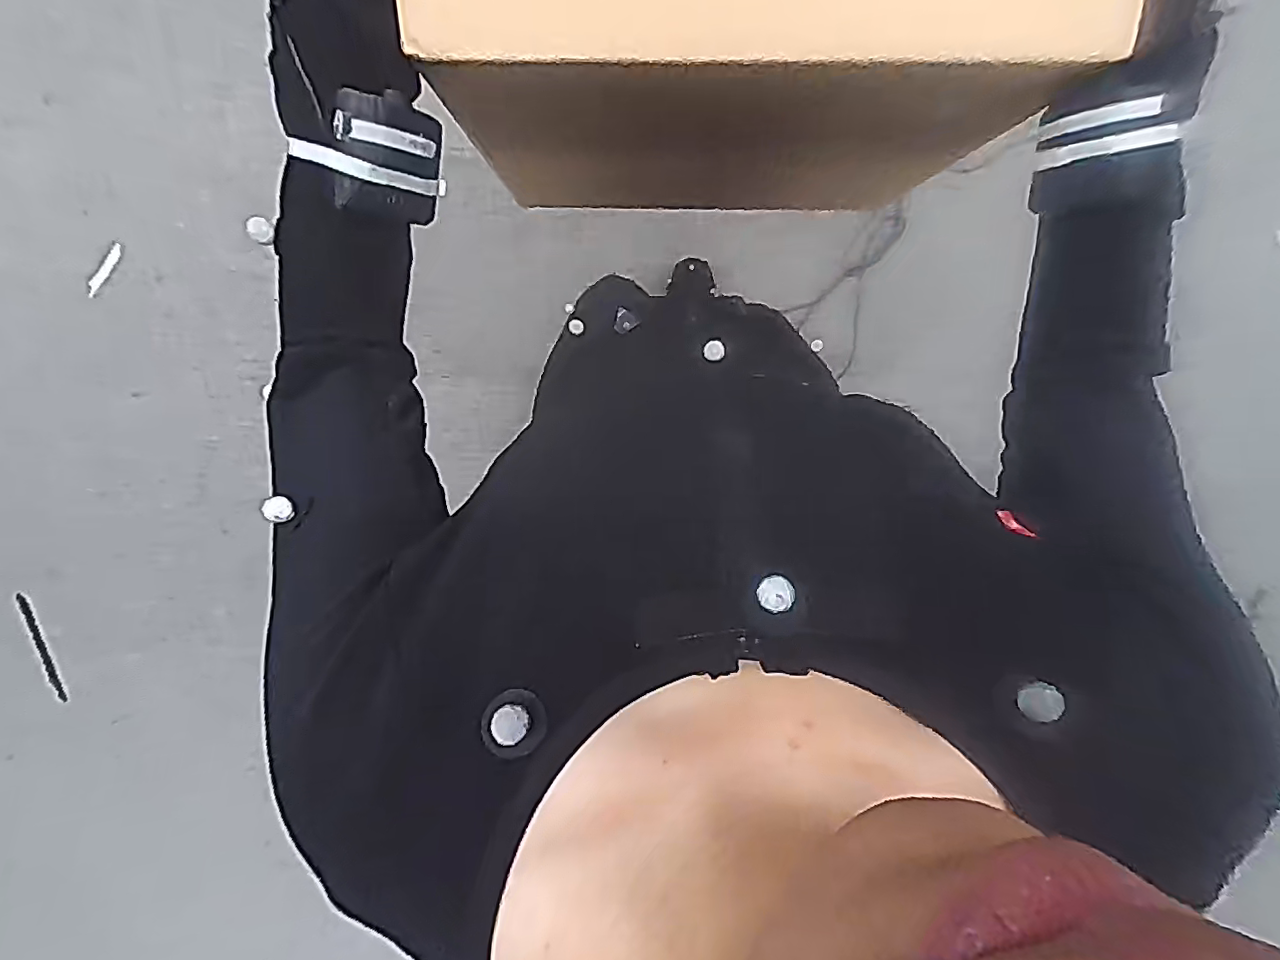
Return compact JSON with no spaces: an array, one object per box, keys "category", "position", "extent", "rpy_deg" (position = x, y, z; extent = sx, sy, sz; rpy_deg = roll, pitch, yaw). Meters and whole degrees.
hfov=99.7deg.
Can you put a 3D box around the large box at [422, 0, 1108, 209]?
[{"category":"large box","position":[0.066,-0.427,0.429],"extent":[0.408,0.320,0.320],"rpy_deg":[-1,103,-1]}]
